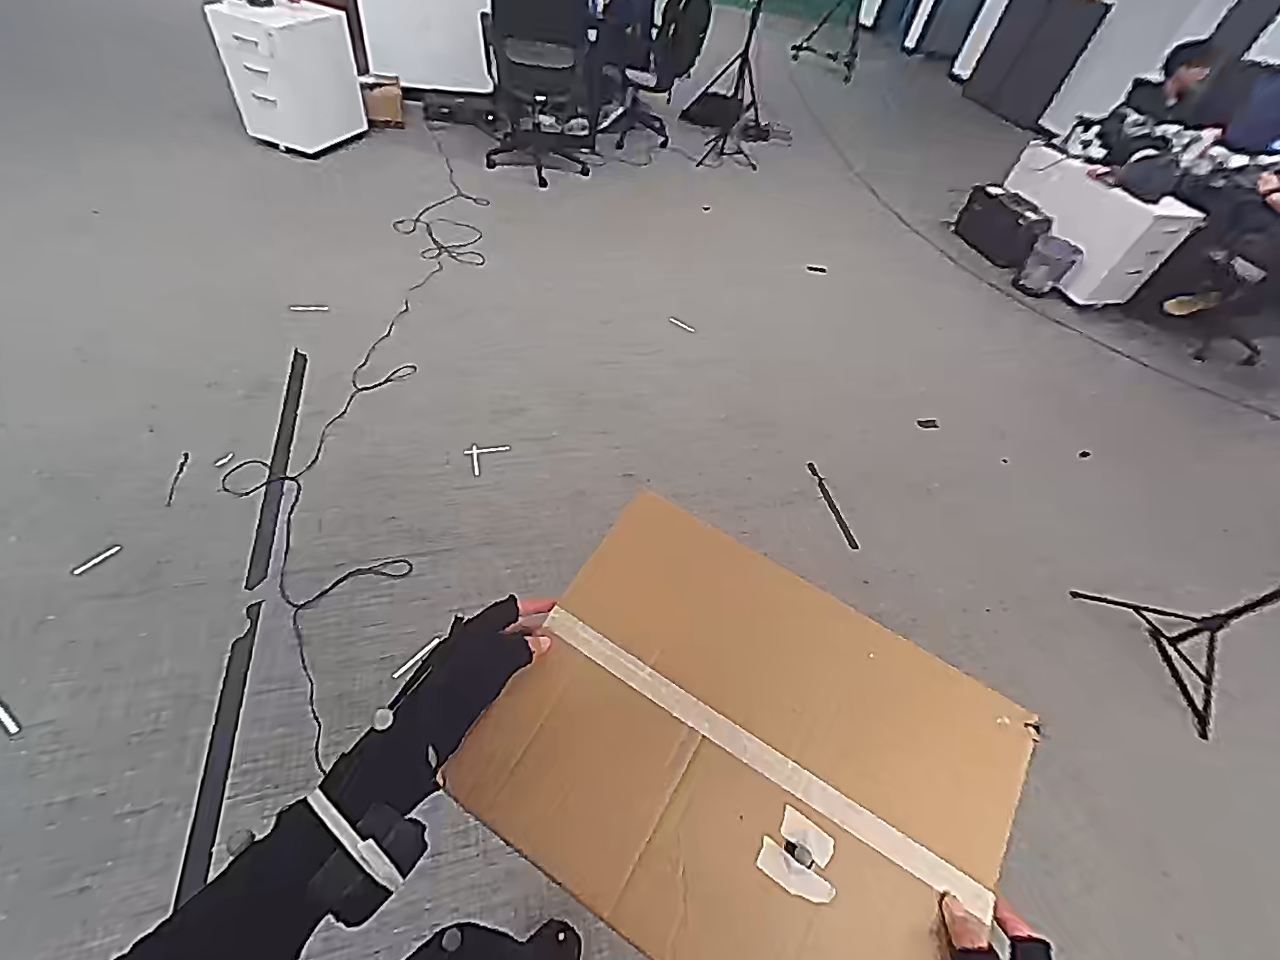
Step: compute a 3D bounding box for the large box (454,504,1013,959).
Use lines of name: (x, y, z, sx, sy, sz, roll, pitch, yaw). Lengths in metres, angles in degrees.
large box: (0.082, 0.296, 0.597, 0.408, 0.320, 0.320, 30, 66, 12)
